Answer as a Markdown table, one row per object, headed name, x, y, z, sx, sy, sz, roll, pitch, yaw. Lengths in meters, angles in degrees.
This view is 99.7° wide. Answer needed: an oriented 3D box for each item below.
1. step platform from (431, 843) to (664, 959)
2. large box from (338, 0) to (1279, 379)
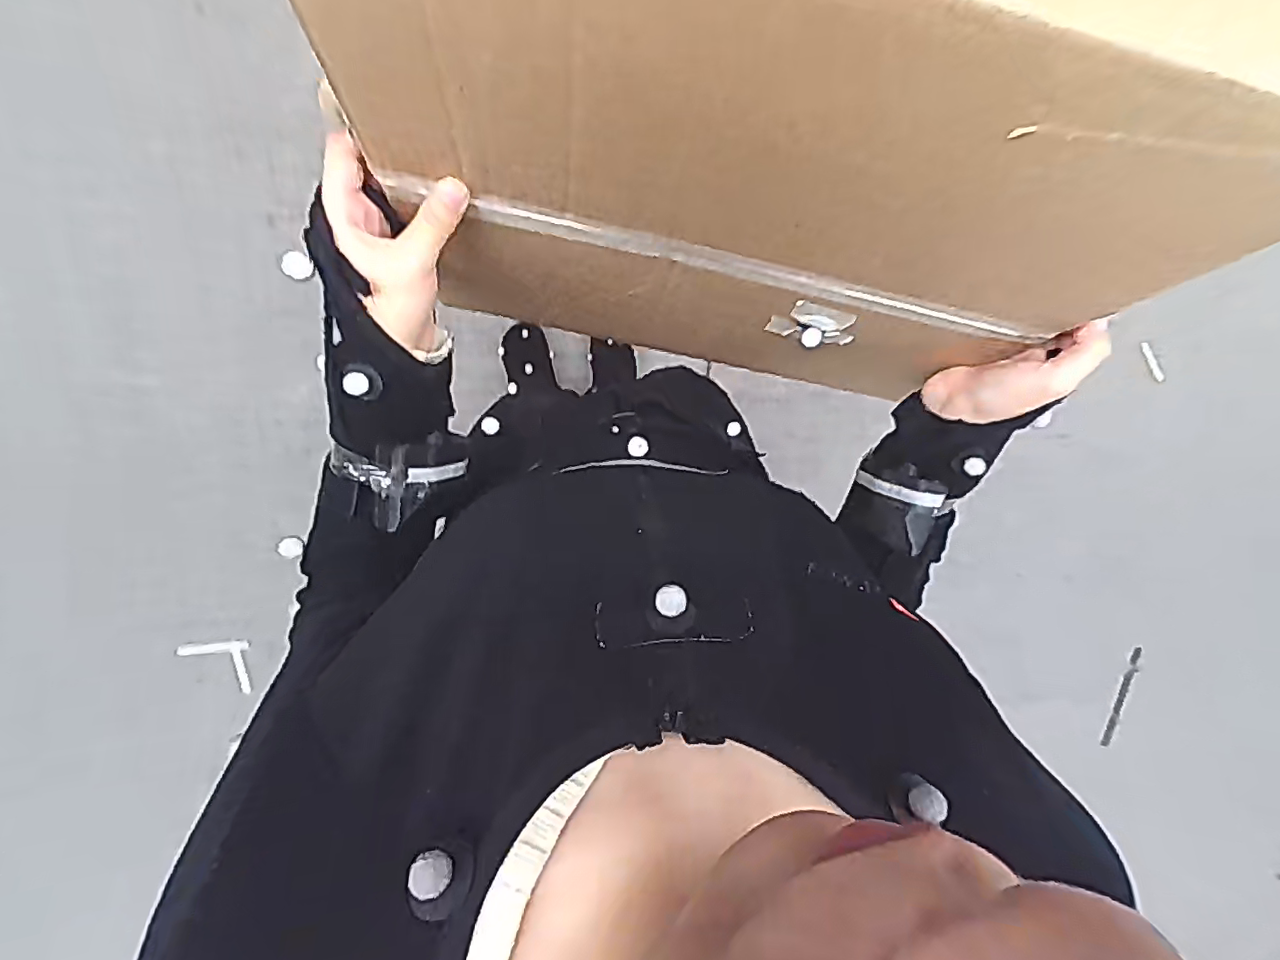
| name | x | y | z | sx | sy | sz | roll | pitch | yaw |
| --- | --- | --- | --- | --- | --- | --- | --- | --- | --- |
| step platform | -0.269 | 1.299 | 1.640 | 0.684 | 0.204 | 0.286 | 5 | 106 | -7 |
| large box | 0.092 | -0.283 | 0.306 | 0.408 | 0.320 | 0.320 | 9 | 82 | -7 |
